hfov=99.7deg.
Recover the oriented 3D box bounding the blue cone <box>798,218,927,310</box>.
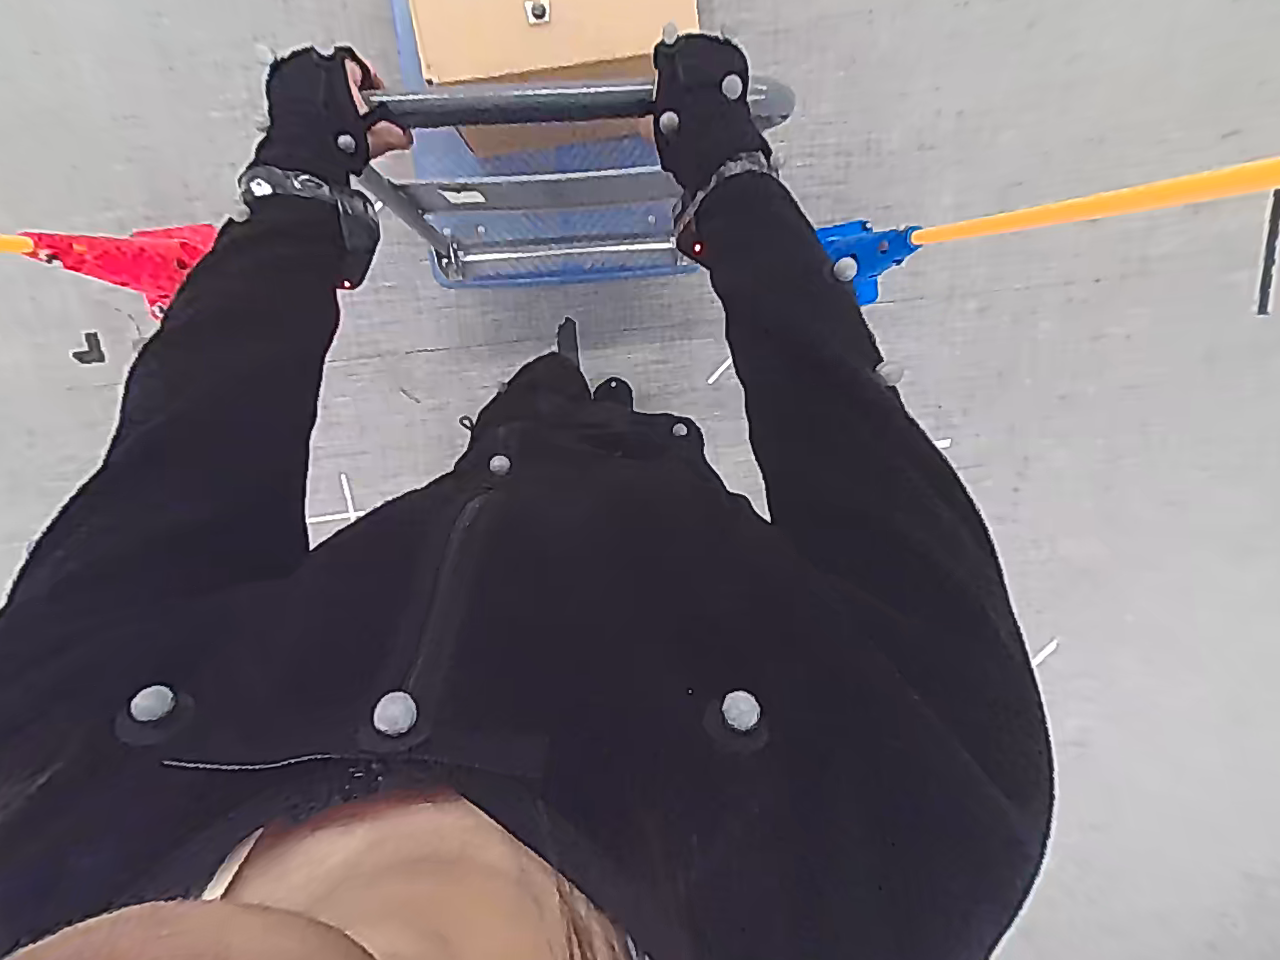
[{"bbox_3d":[0.503,-0.493,1.179,0.193,0.380,0.192,-10,102,-2],"label":"blue cone"}]
